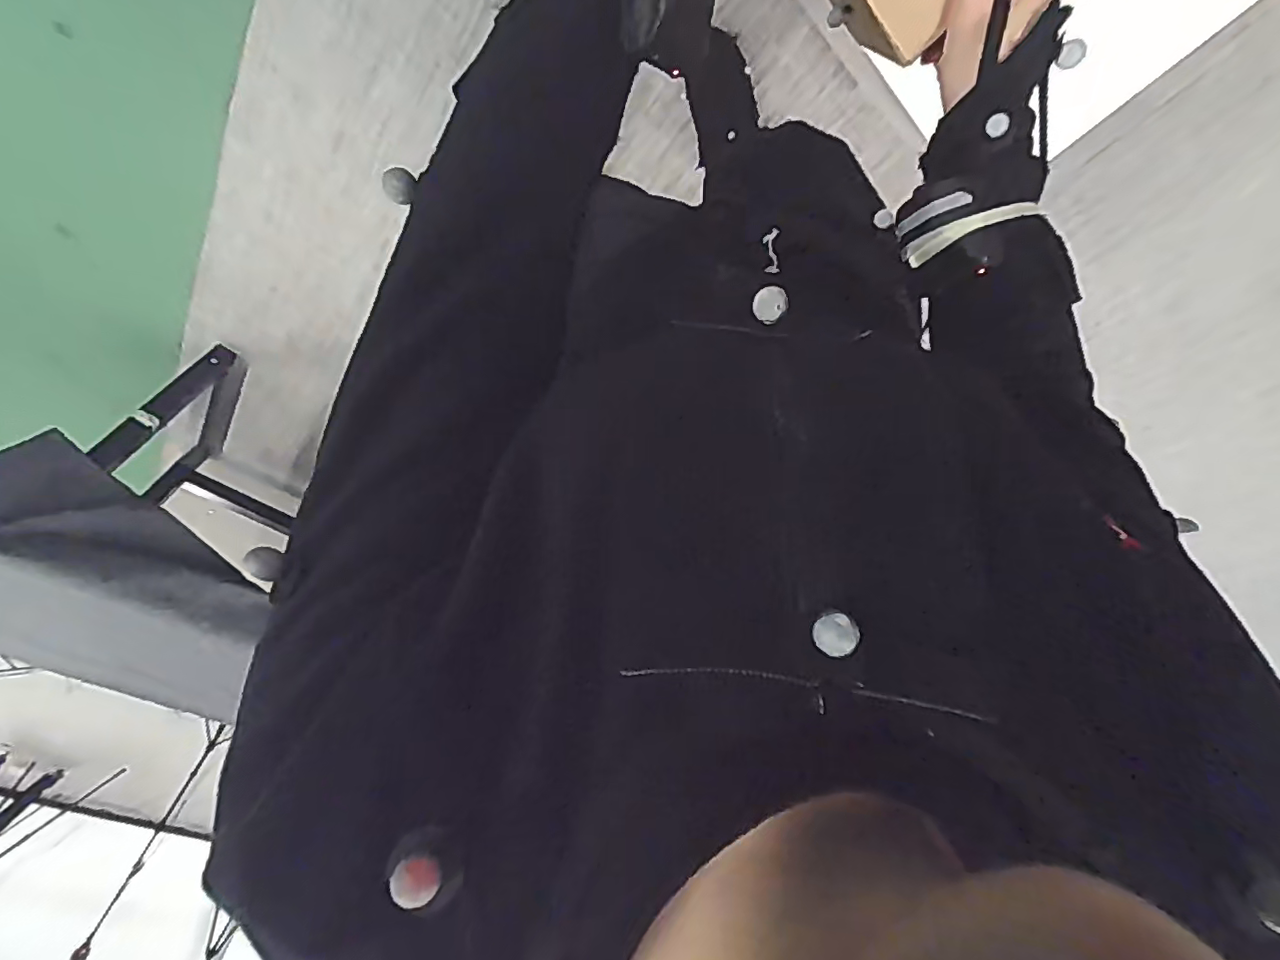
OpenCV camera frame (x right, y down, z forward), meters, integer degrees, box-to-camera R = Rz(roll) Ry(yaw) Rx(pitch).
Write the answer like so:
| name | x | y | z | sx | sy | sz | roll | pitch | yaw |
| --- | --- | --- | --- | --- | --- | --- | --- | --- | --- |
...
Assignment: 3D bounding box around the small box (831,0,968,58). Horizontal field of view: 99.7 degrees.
| name | x | y | z | sx | sy | sz | roll | pitch | yaw |
| --- | --- | --- | --- | --- | --- | --- | --- | --- | --- |
| small box | 0.172 | -0.415 | 0.331 | 0.179 | 0.176 | 0.168 | 36 | 127 | -24 |
